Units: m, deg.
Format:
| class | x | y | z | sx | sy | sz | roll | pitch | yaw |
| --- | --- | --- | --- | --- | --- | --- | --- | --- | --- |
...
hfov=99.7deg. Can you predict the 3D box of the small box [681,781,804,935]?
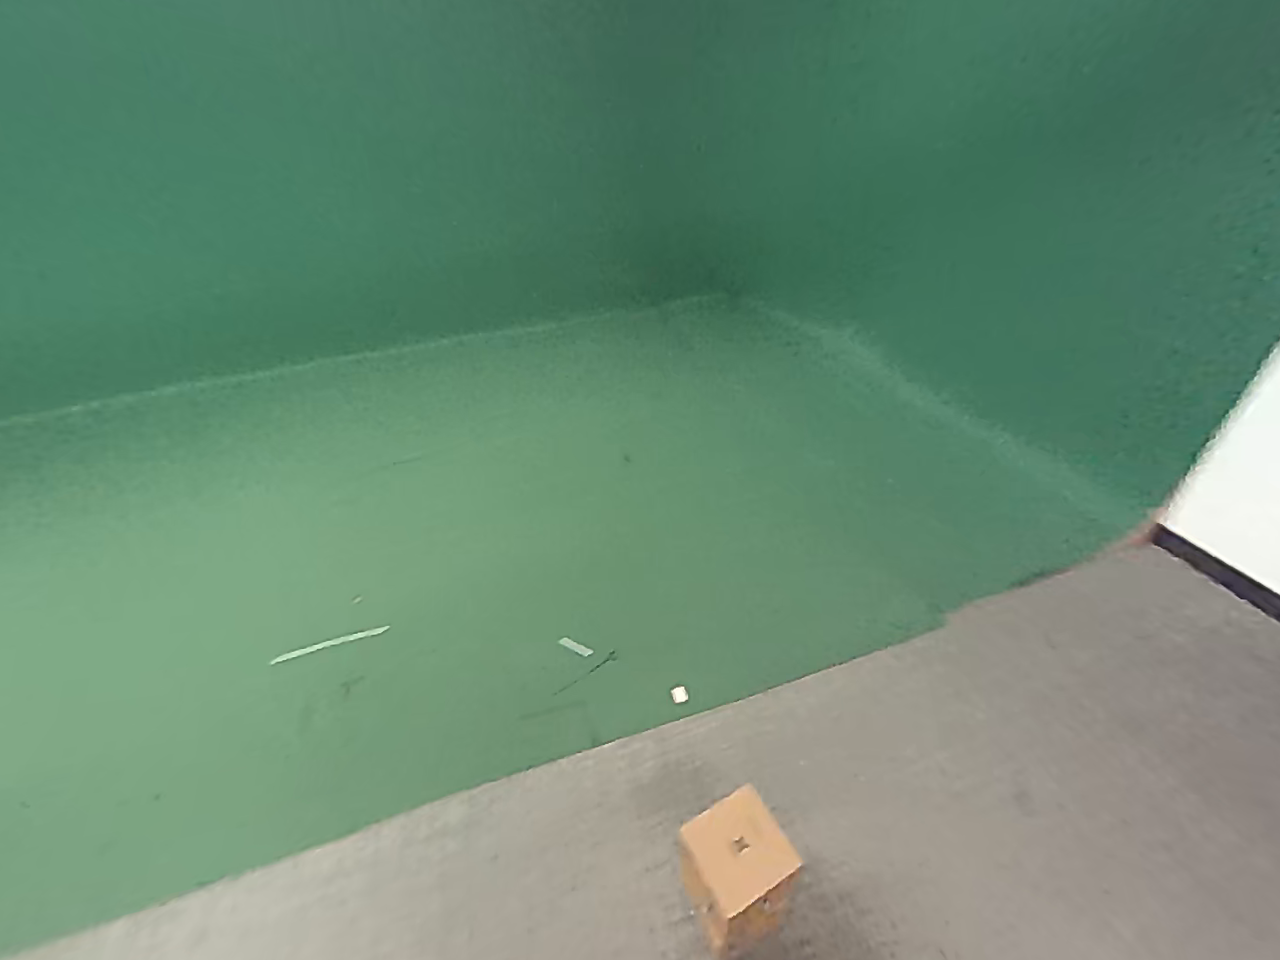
| class | x | y | z | sx | sy | sz | roll | pitch | yaw |
| --- | --- | --- | --- | --- | --- | --- | --- | --- | --- |
| small box | 0.198 | 0.752 | 1.074 | 0.179 | 0.176 | 0.168 | -20 | 41 | -20 |
